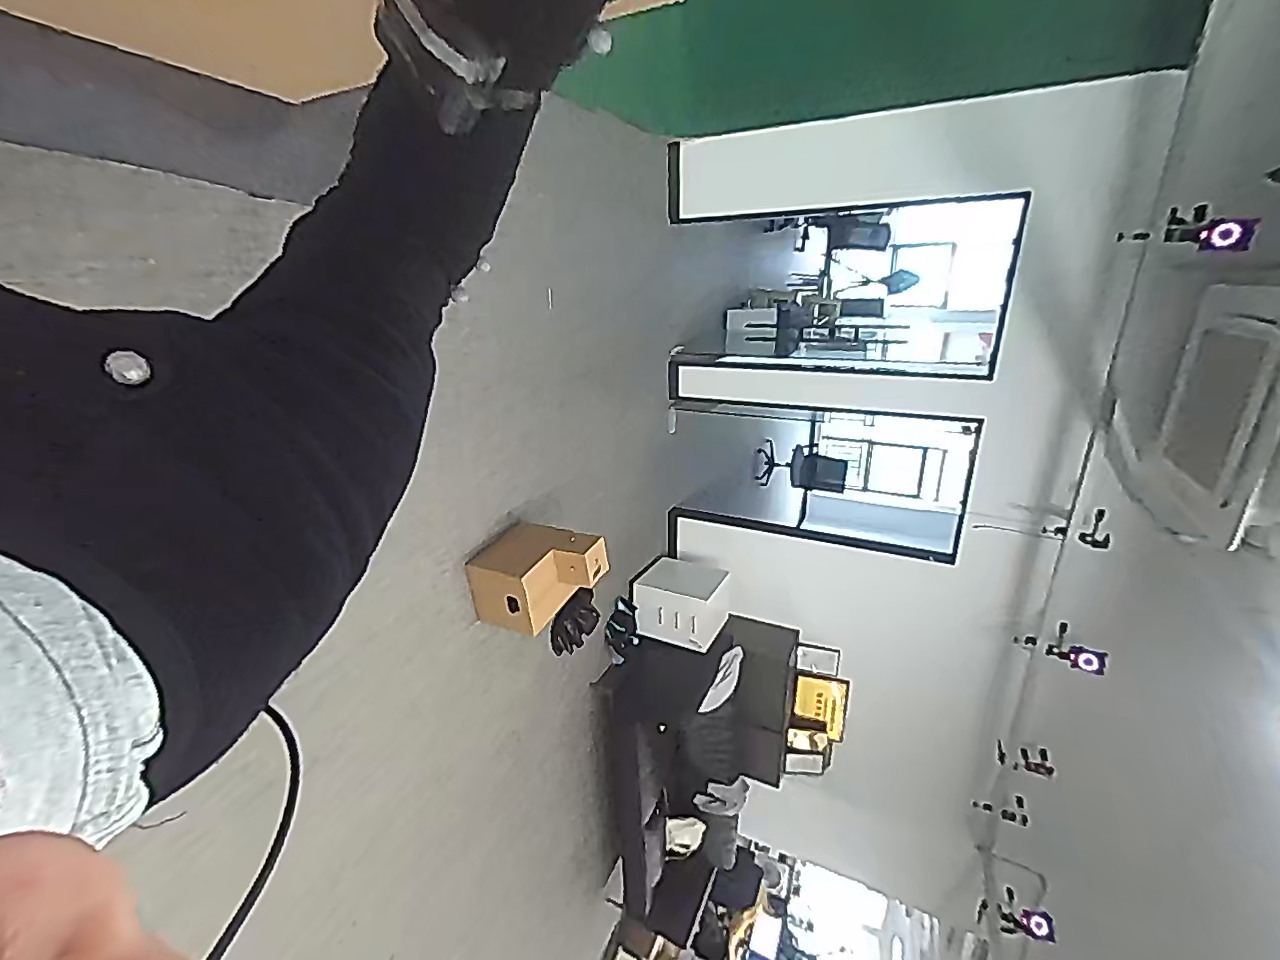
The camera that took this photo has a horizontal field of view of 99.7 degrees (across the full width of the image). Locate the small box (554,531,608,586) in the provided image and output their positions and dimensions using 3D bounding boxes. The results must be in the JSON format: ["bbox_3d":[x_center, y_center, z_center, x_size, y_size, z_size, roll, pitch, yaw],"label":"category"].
[{"bbox_3d":[-0.266,0.348,2.432,0.168,0.176,0.179,-43,131,-54],"label":"small box"}]
